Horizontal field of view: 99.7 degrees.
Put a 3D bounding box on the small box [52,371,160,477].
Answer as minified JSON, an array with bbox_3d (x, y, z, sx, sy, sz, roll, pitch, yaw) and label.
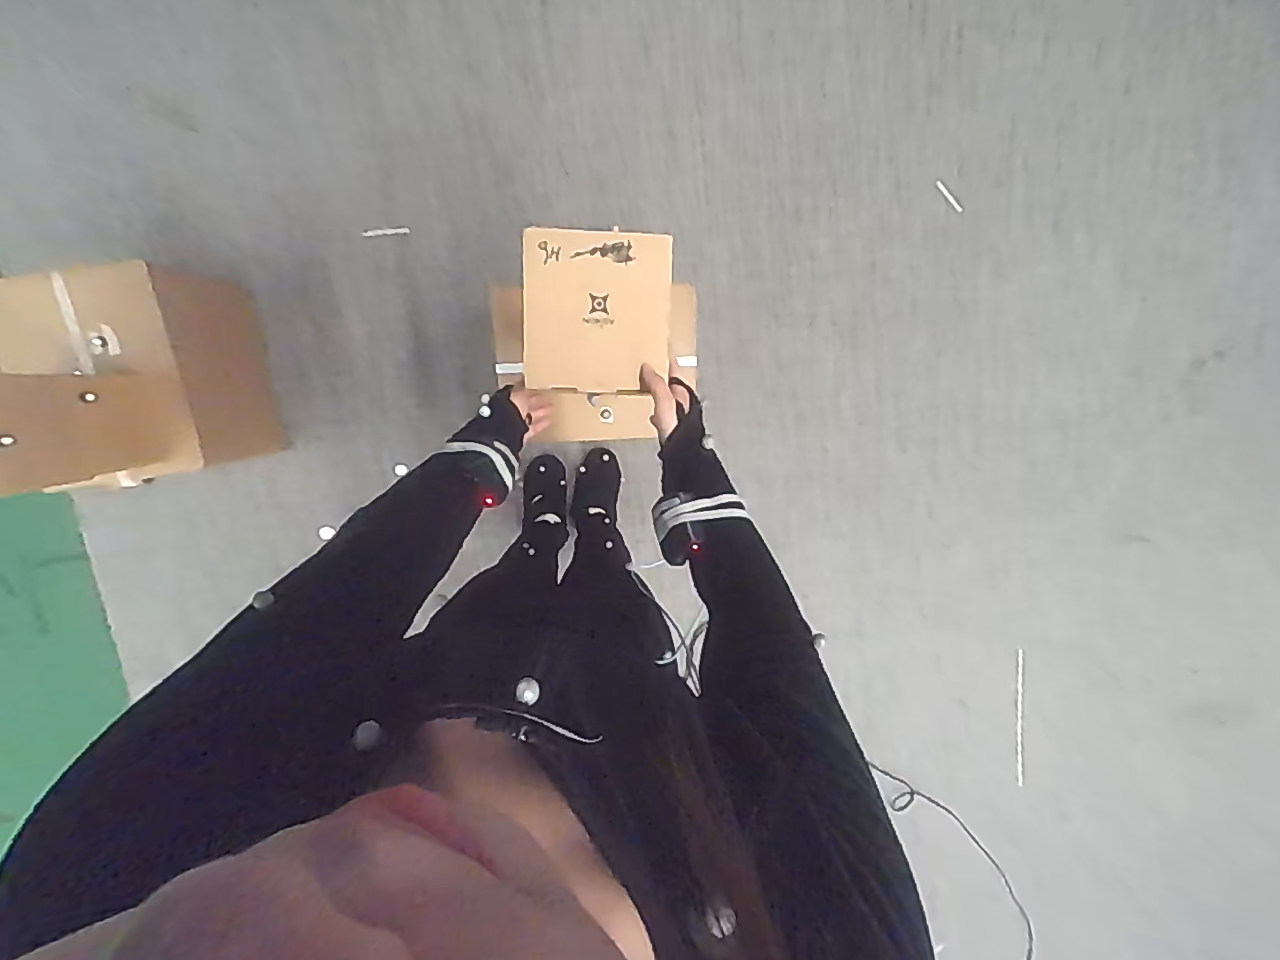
[{"bbox_3d":[-1.007,-0.098,0.956,0.168,0.176,0.179,-6,100,-4],"label":"small box"}]

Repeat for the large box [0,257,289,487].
[{"bbox_3d":[-1.050,-0.224,1.178,0.320,0.320,0.408,-8,100,-3],"label":"large box"}]

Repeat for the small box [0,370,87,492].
[{"bbox_3d":[-0.985,-0.068,0.795,0.168,0.176,0.179,-7,100,-4],"label":"small box"}]

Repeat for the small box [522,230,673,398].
[{"bbox_3d":[-0.054,-0.197,0.685,0.168,0.176,0.179,2,99,-5],"label":"small box"}]
